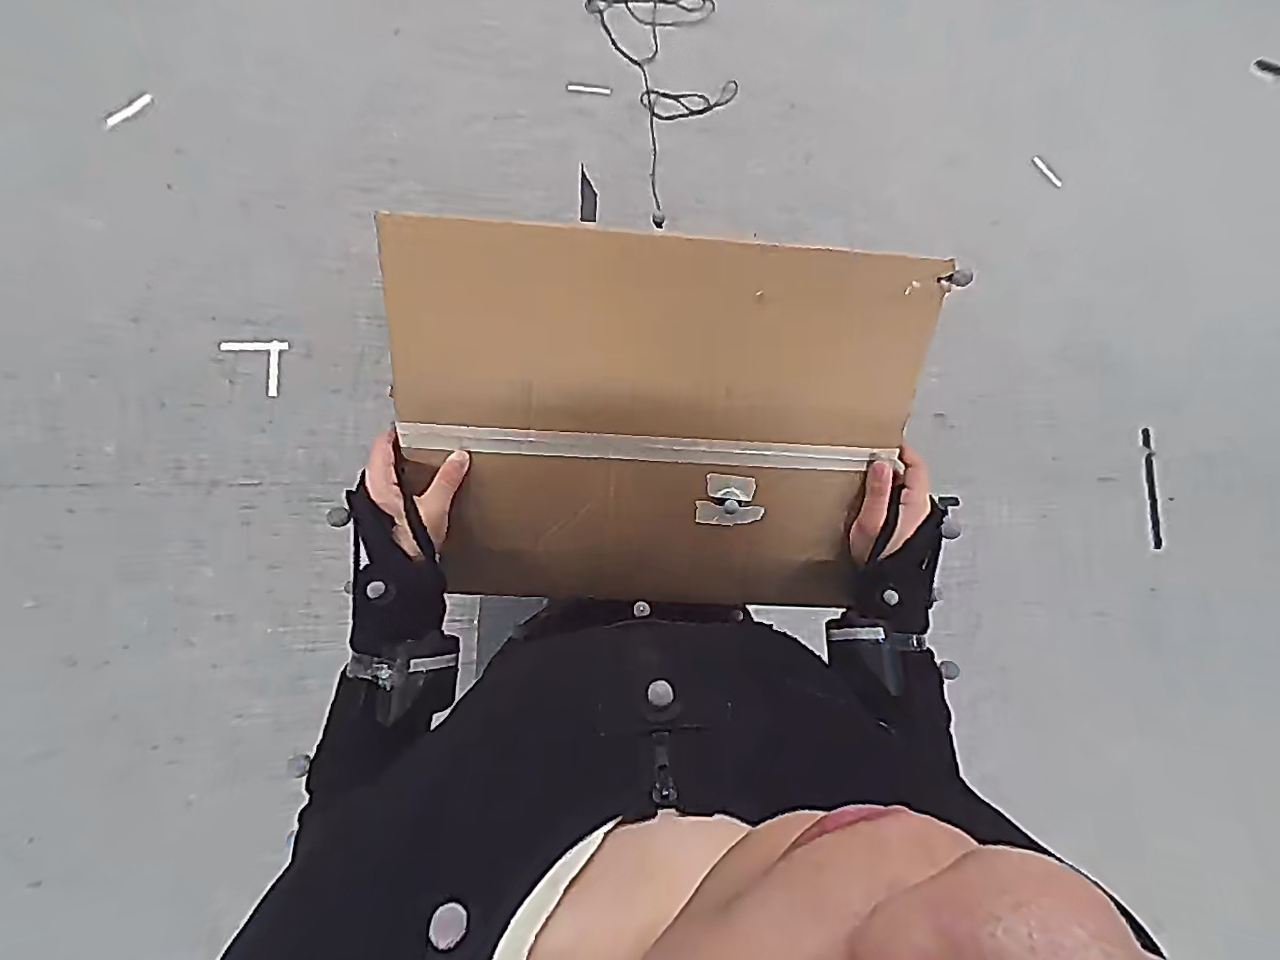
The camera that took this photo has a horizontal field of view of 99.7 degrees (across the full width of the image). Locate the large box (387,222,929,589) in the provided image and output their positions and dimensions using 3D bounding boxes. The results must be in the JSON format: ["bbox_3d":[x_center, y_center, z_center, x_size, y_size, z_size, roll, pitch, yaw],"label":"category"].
[{"bbox_3d":[0.001,-0.098,0.586,0.408,0.320,0.320,2,117,-5],"label":"large box"}]
